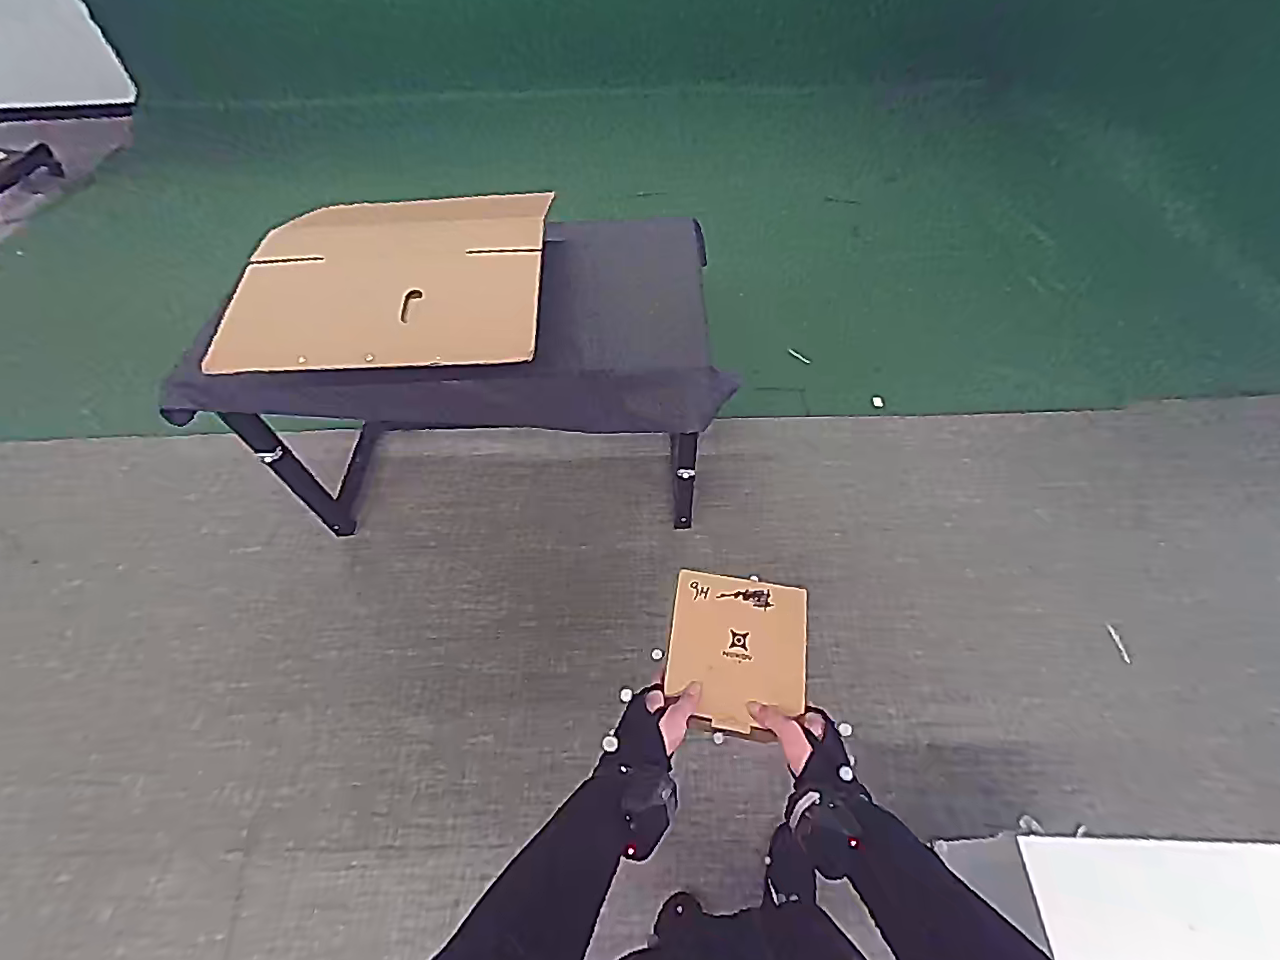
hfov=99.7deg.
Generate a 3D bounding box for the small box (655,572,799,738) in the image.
[{"bbox_3d":[0.111,0.243,0.732,0.168,0.176,0.179,7,62,3],"label":"small box"}]
